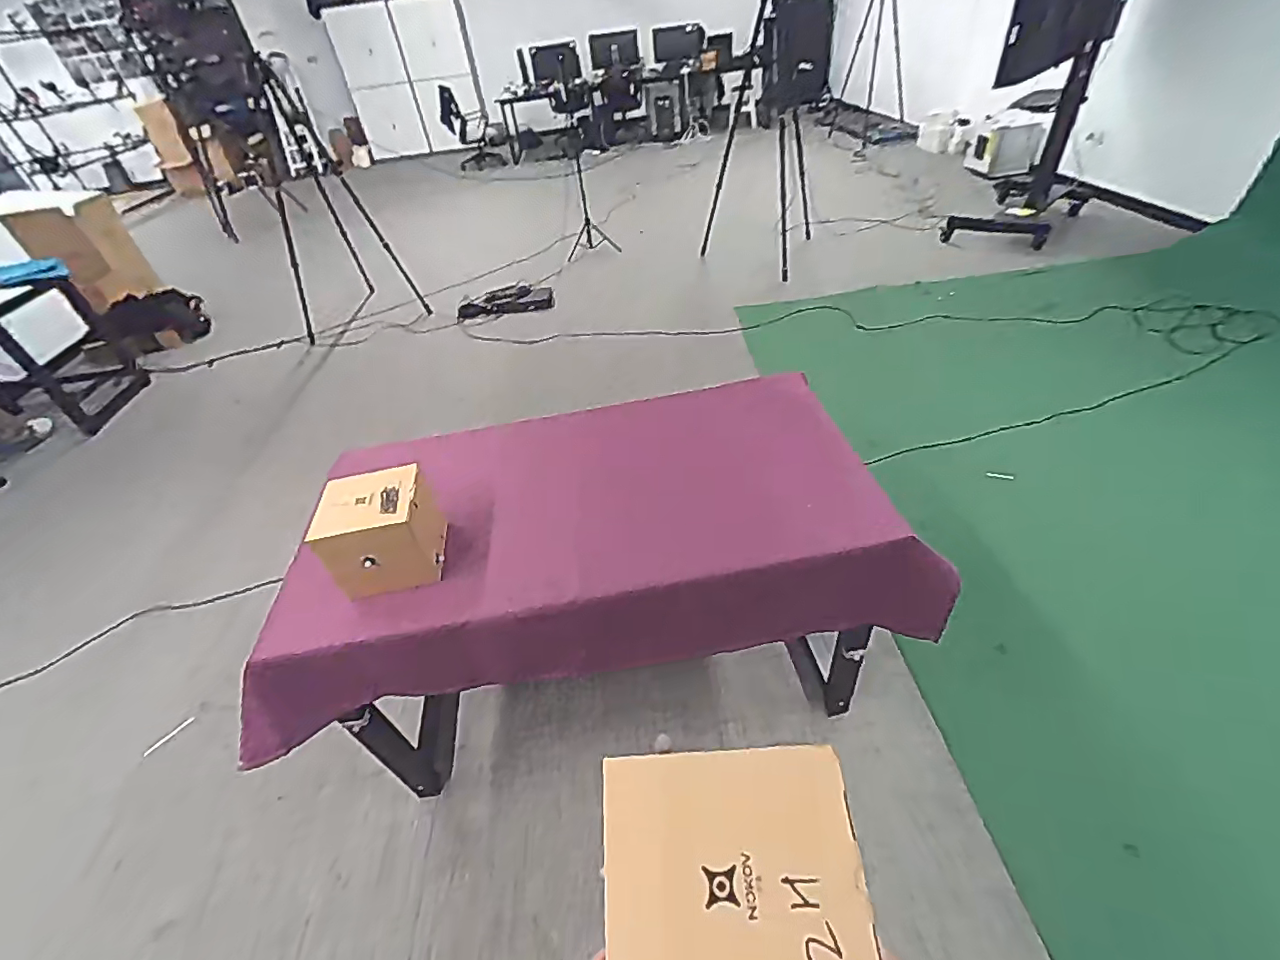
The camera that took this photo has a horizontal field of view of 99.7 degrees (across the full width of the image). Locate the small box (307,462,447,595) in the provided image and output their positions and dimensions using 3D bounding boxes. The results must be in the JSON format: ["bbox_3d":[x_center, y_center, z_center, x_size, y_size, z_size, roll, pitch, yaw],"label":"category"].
[{"bbox_3d":[-0.484,0.094,1.030,0.179,0.176,0.168,-12,41,-3],"label":"small box"}]

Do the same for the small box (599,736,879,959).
[{"bbox_3d":[0.066,0.305,0.428,0.179,0.176,0.168,-4,59,3],"label":"small box"}]
